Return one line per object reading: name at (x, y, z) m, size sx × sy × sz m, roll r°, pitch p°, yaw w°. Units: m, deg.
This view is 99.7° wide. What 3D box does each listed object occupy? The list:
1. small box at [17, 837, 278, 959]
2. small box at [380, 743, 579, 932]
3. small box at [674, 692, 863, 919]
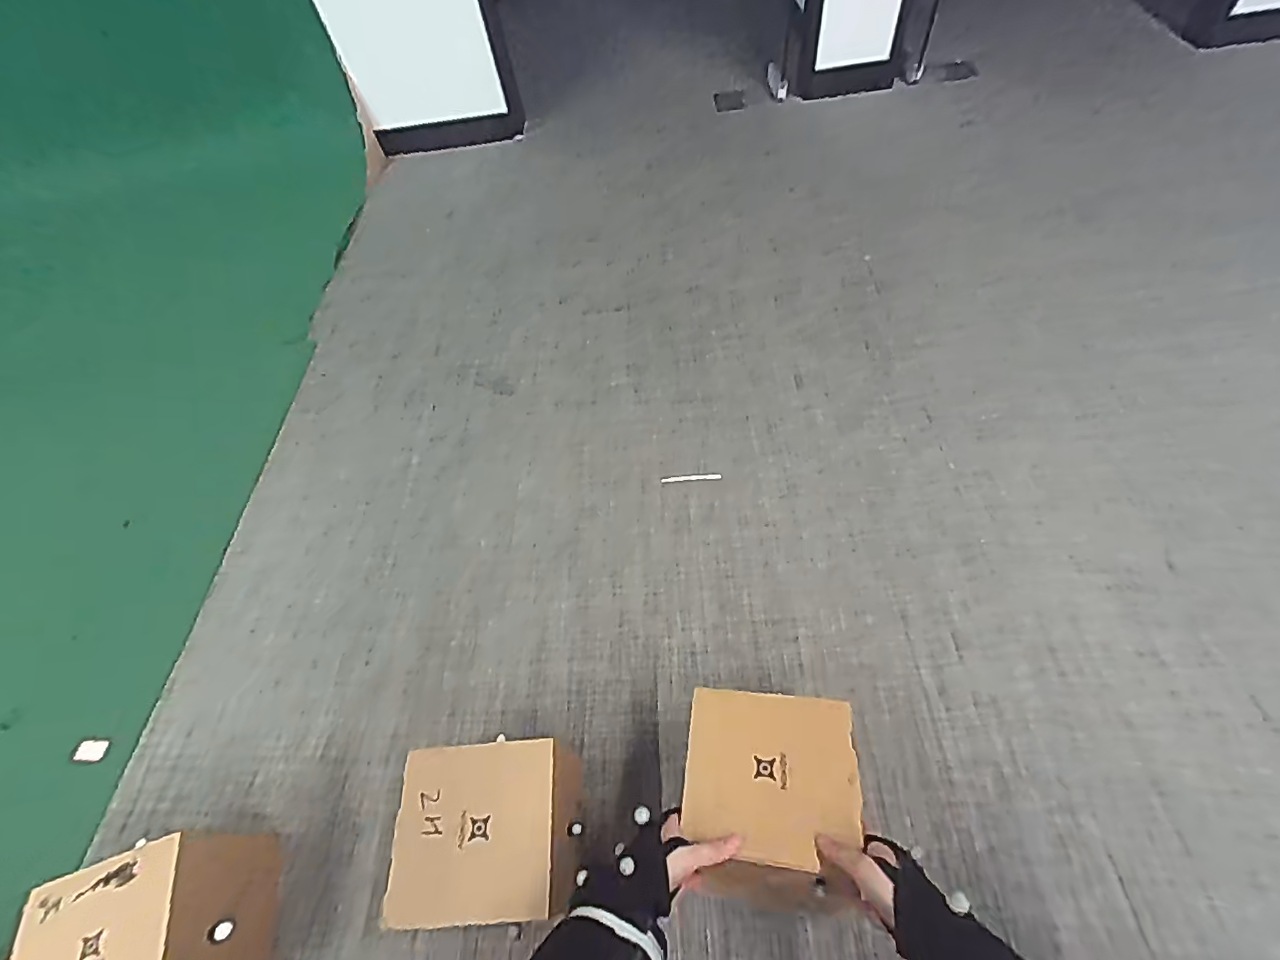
small box at (-0.551, 0.536, 0.620) m, size 0.168 × 0.176 × 0.179 m, roll -20°, pitch 56°, yaw -5°
small box at (-0.171, 0.420, 0.645) m, size 0.179 × 0.176 × 0.168 m, roll -6°, pitch 55°, yaw 3°
small box at (0.142, 0.365, 0.612) m, size 0.179 × 0.176 × 0.168 m, roll 1°, pitch 41°, yaw 12°
